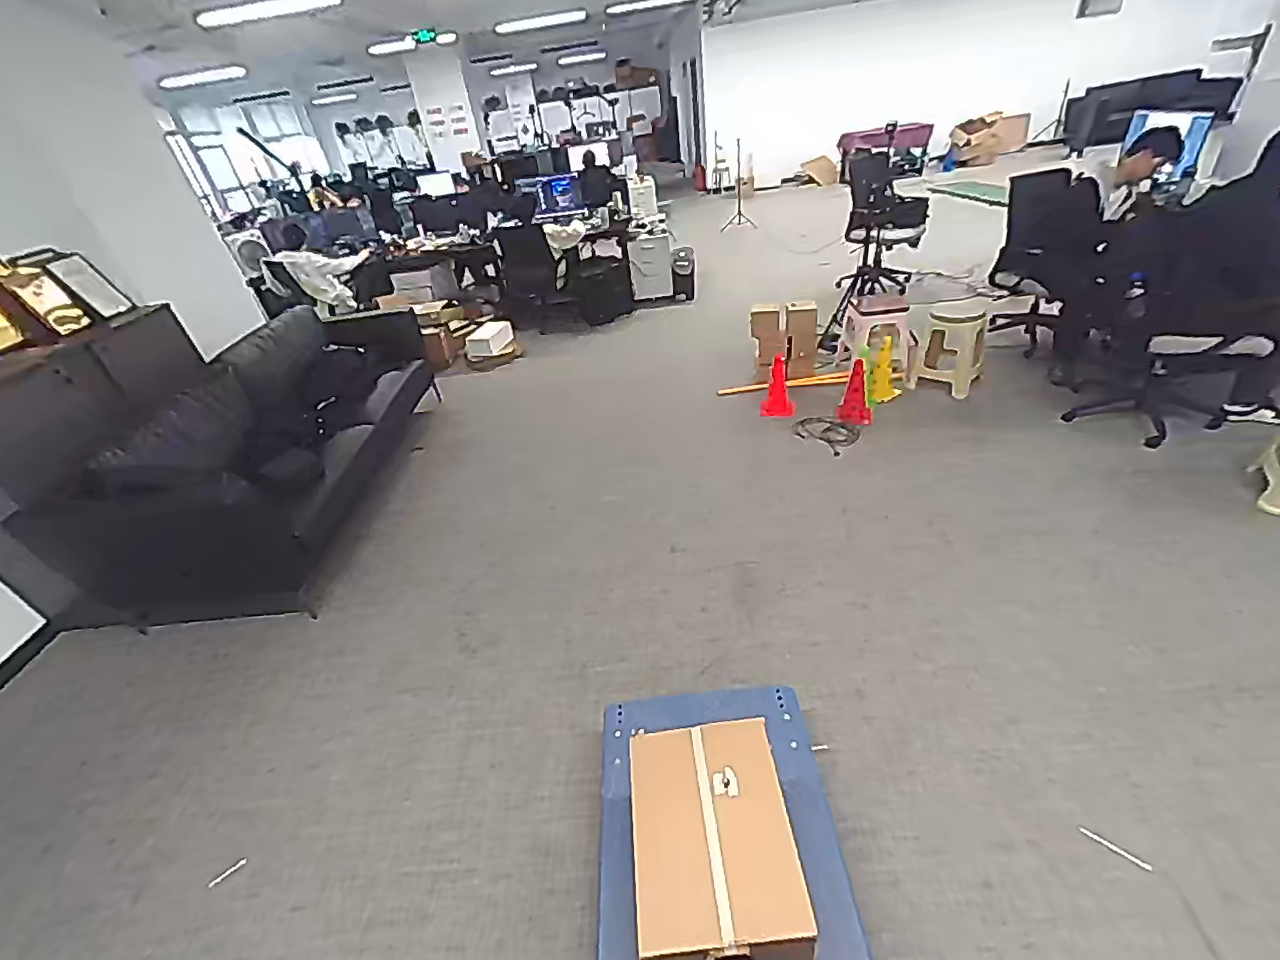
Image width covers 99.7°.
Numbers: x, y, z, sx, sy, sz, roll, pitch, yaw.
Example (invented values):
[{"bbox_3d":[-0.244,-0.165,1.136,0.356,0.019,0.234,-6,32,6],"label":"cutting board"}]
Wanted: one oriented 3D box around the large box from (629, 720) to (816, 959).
[{"bbox_3d":[0.164,0.814,1.181,0.320,0.320,0.408,-9,35,2],"label":"large box"}]
